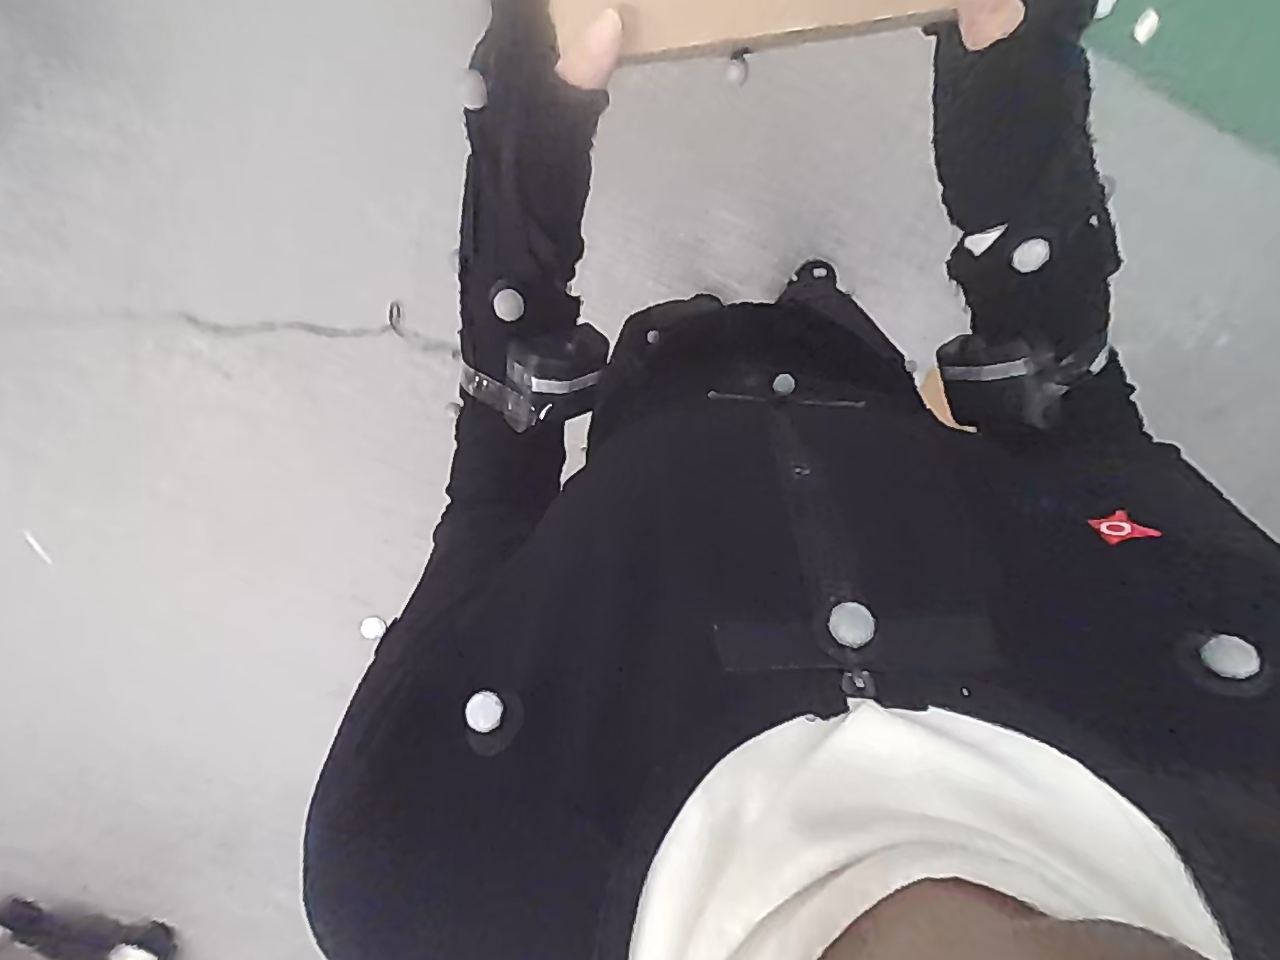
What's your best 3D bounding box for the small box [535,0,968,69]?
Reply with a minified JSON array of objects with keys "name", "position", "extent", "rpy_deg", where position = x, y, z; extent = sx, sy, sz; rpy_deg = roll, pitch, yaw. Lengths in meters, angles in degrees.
[{"name":"small box","position":[0.039,-0.288,0.226],"extent":[0.179,0.176,0.168],"rpy_deg":[-5,126,6]}]
